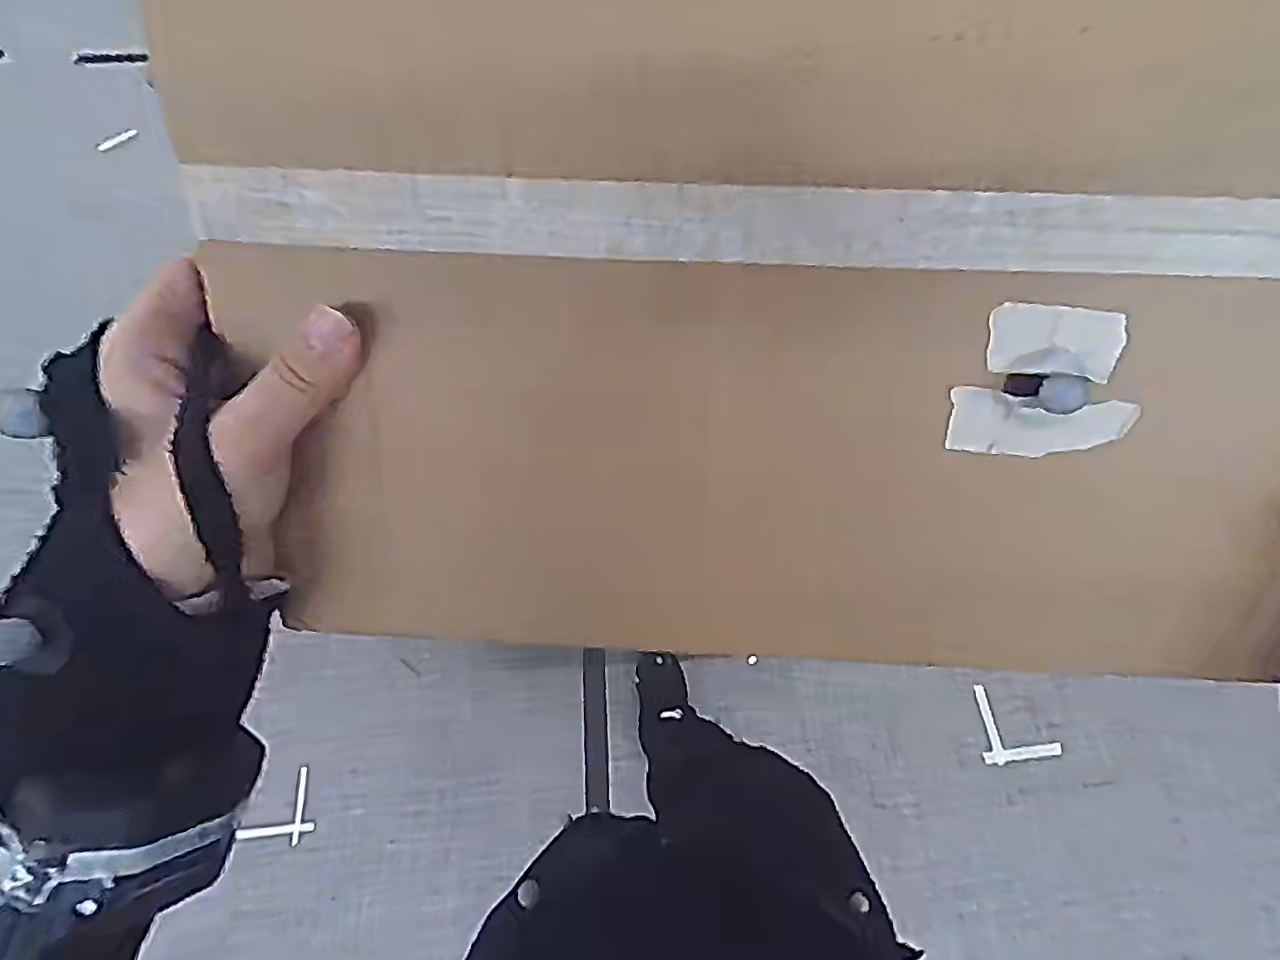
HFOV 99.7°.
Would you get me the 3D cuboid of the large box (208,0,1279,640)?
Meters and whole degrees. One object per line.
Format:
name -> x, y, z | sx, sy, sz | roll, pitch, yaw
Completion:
large box -> 0.069, -0.128, 0.318 | 0.408, 0.320, 0.320 | 2, 110, 0
